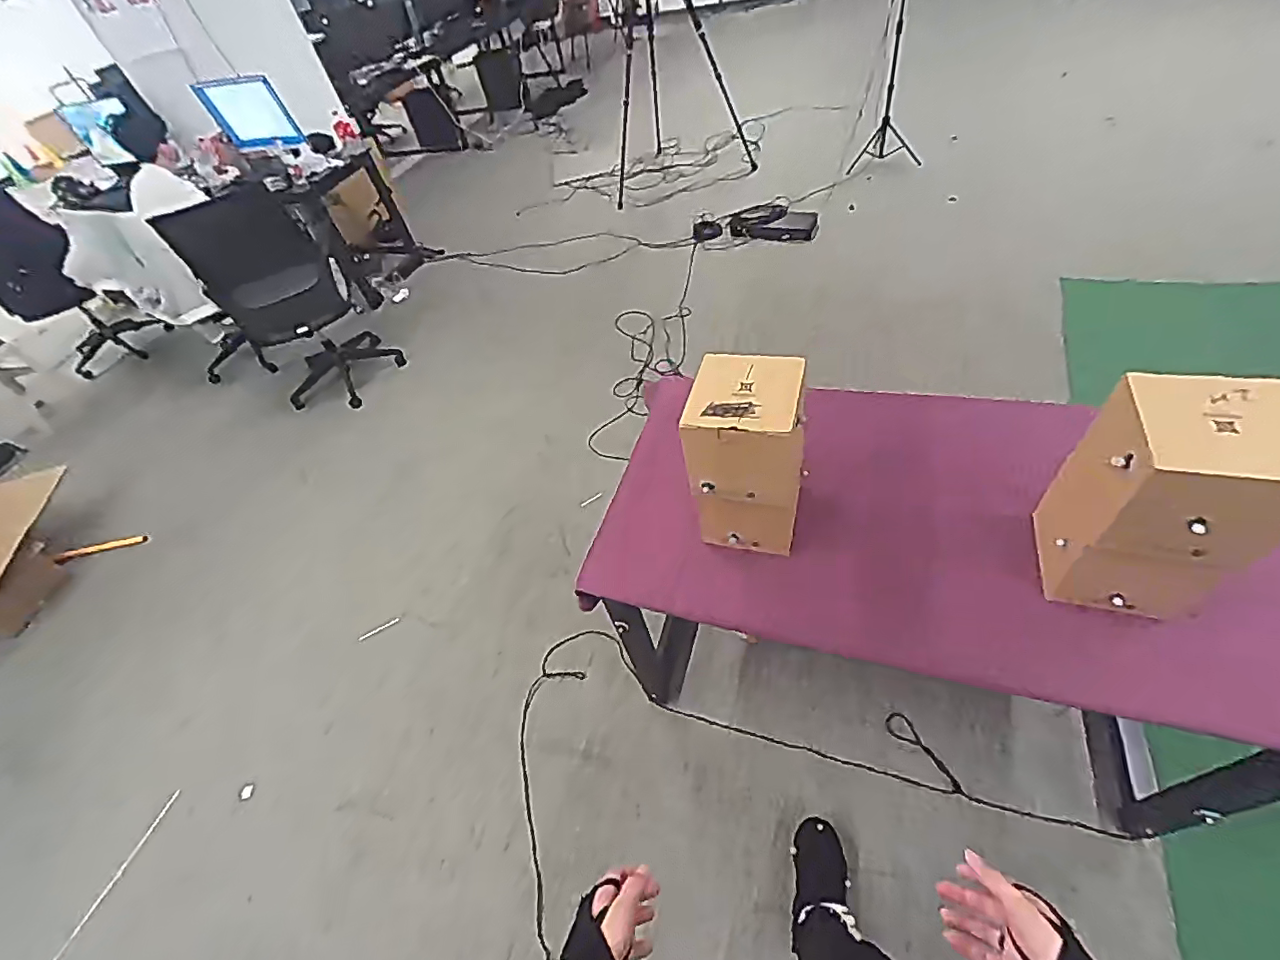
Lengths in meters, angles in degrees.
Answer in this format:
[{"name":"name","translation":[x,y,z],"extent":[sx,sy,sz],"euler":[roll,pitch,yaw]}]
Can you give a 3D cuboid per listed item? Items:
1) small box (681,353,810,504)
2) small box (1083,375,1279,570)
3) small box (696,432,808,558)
[{"name":"small box","translation":[0.177,-0.082,0.873],"extent":[0.168,0.176,0.179],"euler":[8,51,19]},{"name":"small box","translation":[0.703,-0.009,0.686],"extent":[0.168,0.176,0.179],"euler":[9,52,20]},{"name":"small box","translation":[0.209,0.017,0.999],"extent":[0.168,0.176,0.179],"euler":[8,52,19]}]
